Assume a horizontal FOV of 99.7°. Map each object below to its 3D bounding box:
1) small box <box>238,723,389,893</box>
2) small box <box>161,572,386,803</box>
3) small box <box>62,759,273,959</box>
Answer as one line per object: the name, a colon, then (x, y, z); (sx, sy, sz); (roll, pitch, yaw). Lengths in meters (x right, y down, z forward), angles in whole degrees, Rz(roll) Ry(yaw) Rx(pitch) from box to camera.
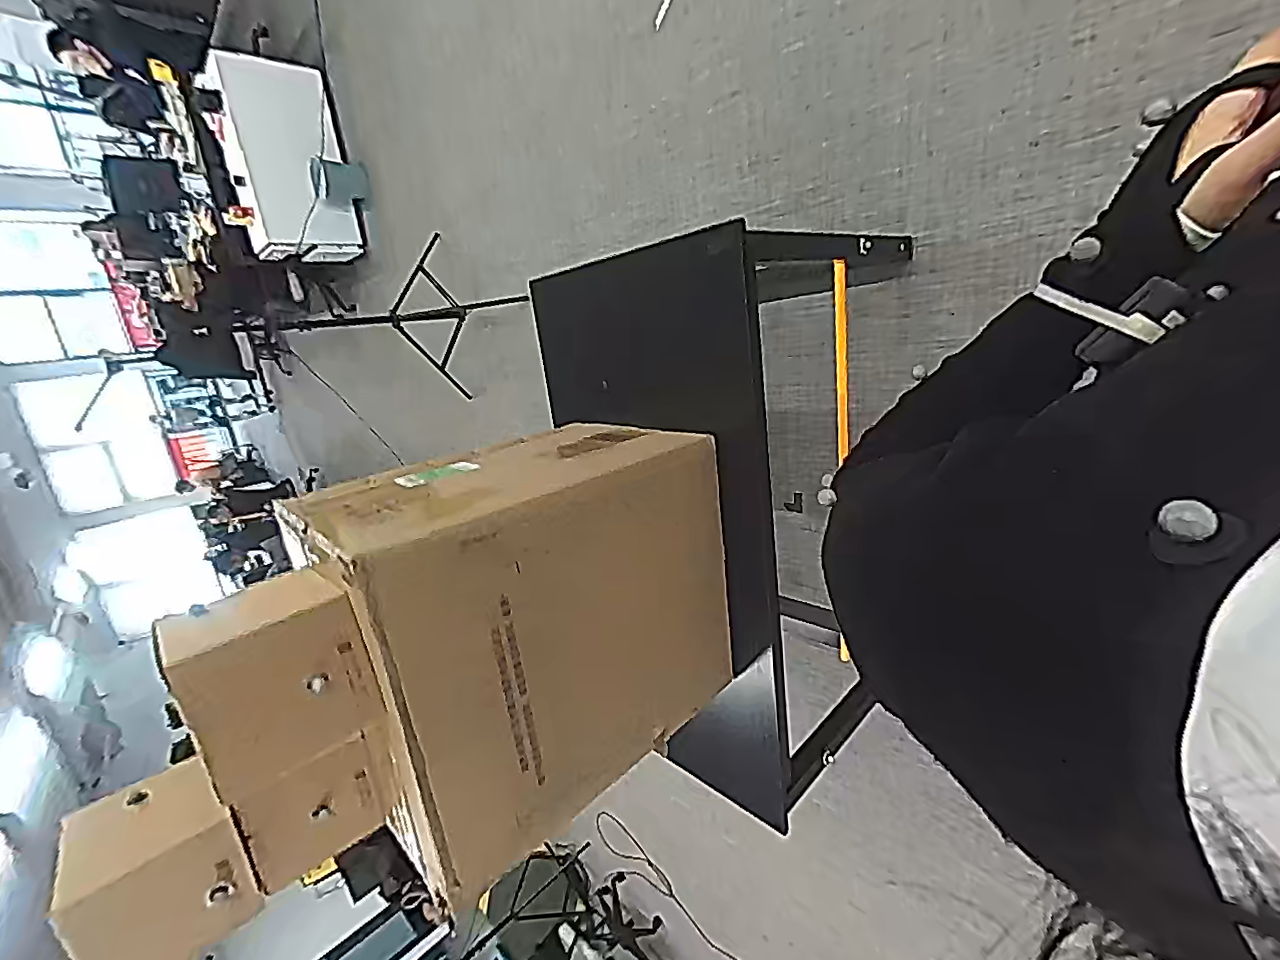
small box: (-0.511, 0.467, 0.840); (0.179, 0.176, 0.168); (10, 112, 46)
small box: (-0.429, 0.224, 0.642); (0.179, 0.176, 0.168); (5, 112, 46)
small box: (-0.619, 0.509, 0.724); (0.179, 0.176, 0.168); (12, 115, 45)
